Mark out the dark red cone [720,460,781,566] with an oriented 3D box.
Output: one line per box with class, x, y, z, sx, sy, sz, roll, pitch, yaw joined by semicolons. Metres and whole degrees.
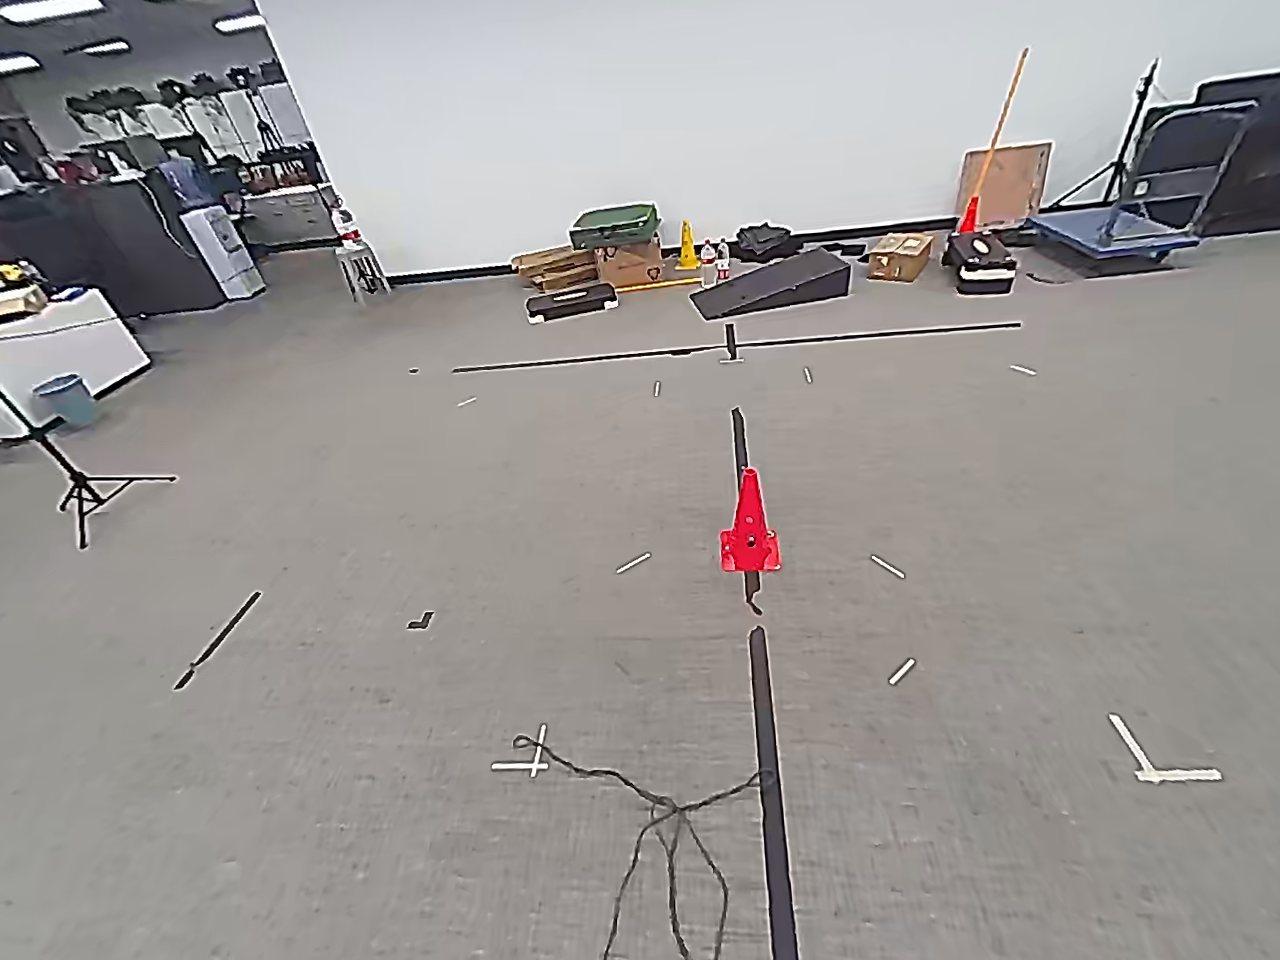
dark red cone;0.363;0.096;1.802;0.201;0.394;0.202;-4;38;8
